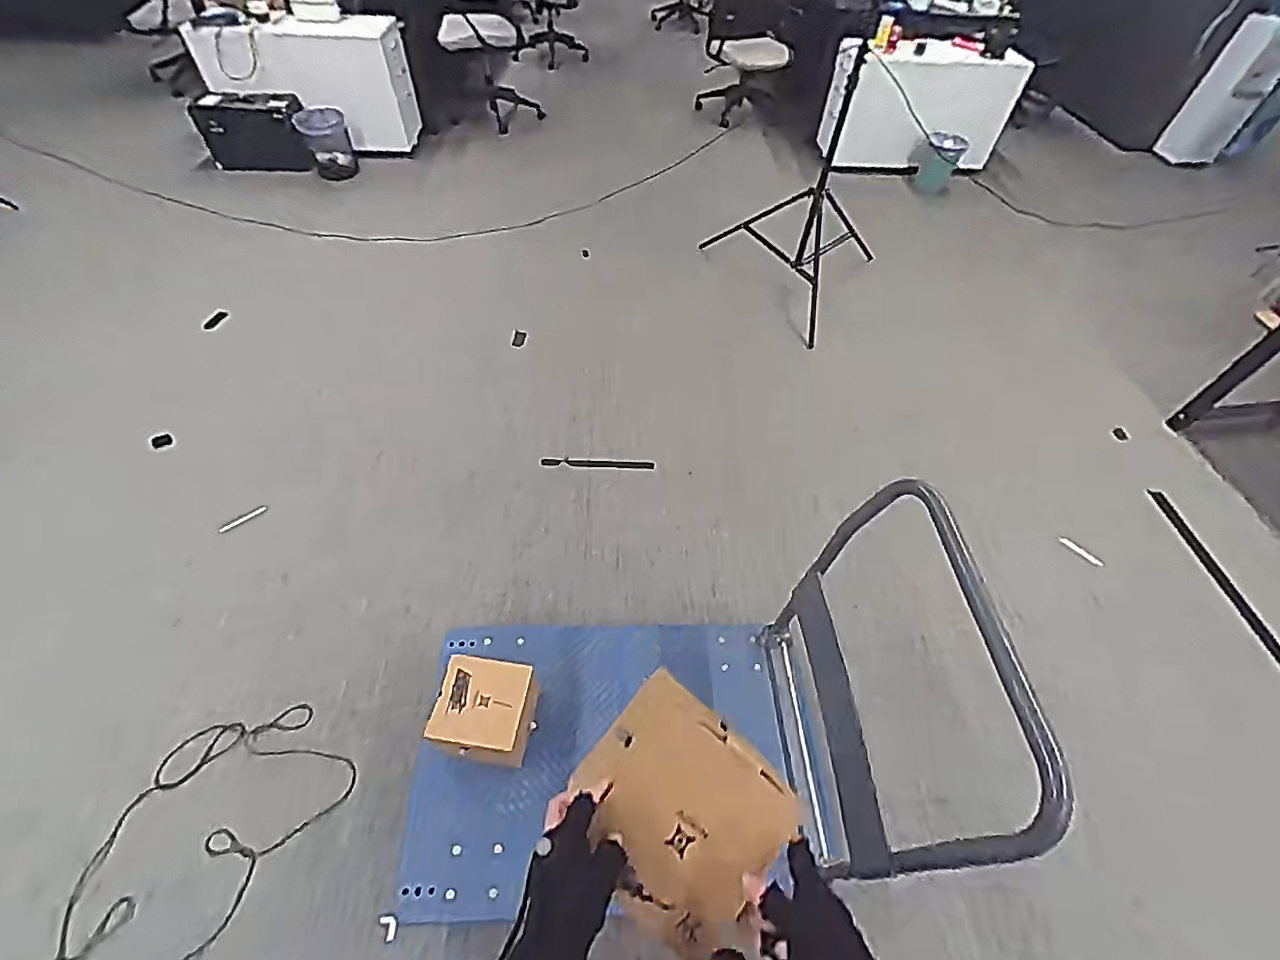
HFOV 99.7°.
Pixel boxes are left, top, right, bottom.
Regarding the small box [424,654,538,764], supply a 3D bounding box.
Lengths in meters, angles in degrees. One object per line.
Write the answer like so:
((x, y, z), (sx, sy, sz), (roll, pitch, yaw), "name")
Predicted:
((-0.325, 0.489, 1.147), (0.179, 0.176, 0.168), (9, 52, 2), "small box")

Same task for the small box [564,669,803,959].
((0.035, 0.334, 0.586), (0.168, 0.176, 0.179), (41, 81, 1), "small box")
